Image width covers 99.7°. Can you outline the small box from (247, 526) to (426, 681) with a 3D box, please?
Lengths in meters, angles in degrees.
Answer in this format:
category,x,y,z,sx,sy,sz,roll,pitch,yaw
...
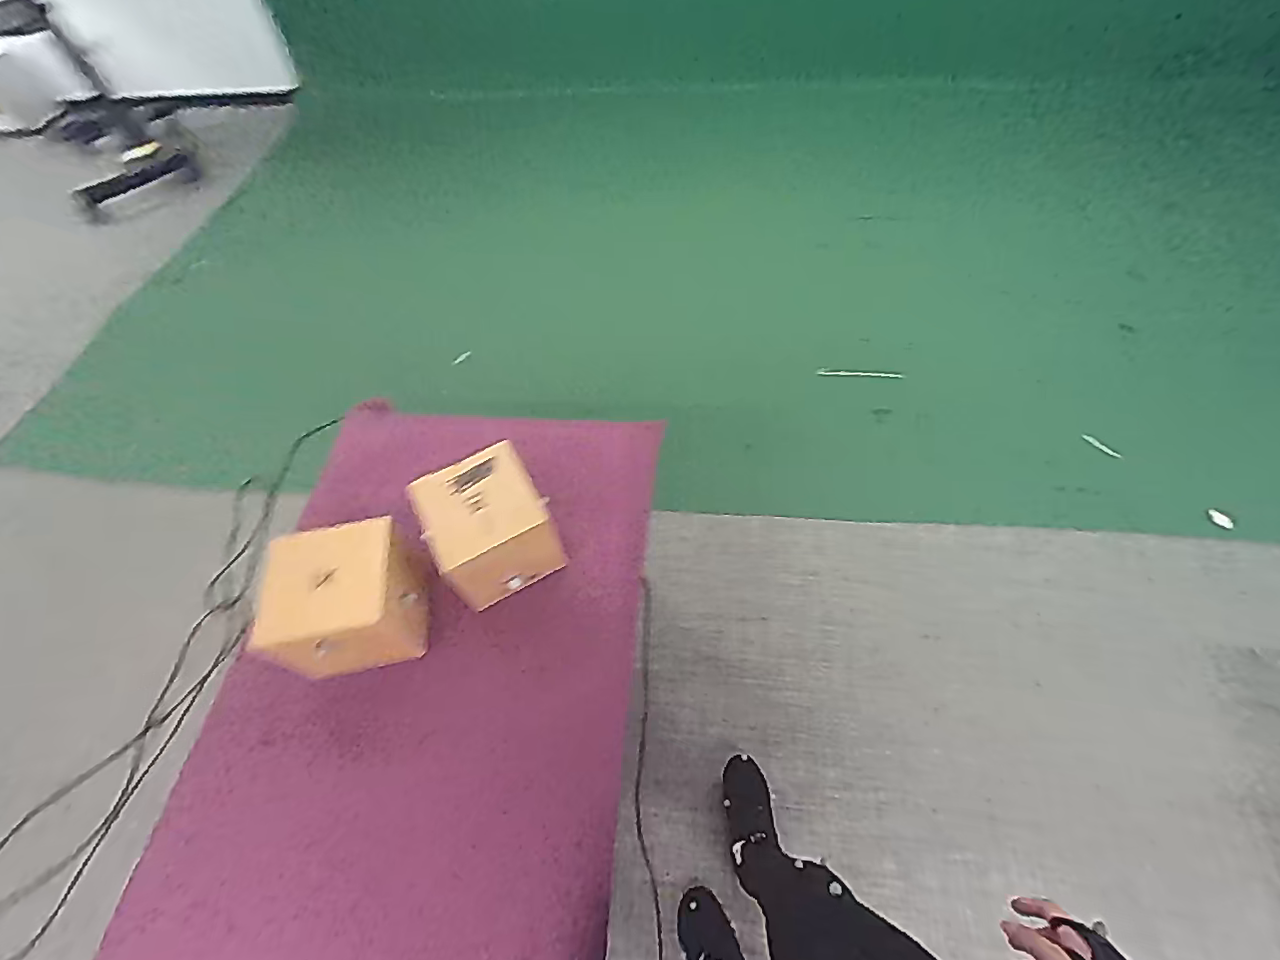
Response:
category,x,y,z,sx,sy,sz,roll,pitch,yaw
small box,-0.442,0.192,0.823,0.179,0.176,0.168,-11,57,-3

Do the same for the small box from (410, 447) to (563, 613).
category,x,y,z,sx,sy,sz,roll,pitch,yaw
small box,-0.242,0.085,0.878,0.168,0.176,0.179,-27,60,-13
